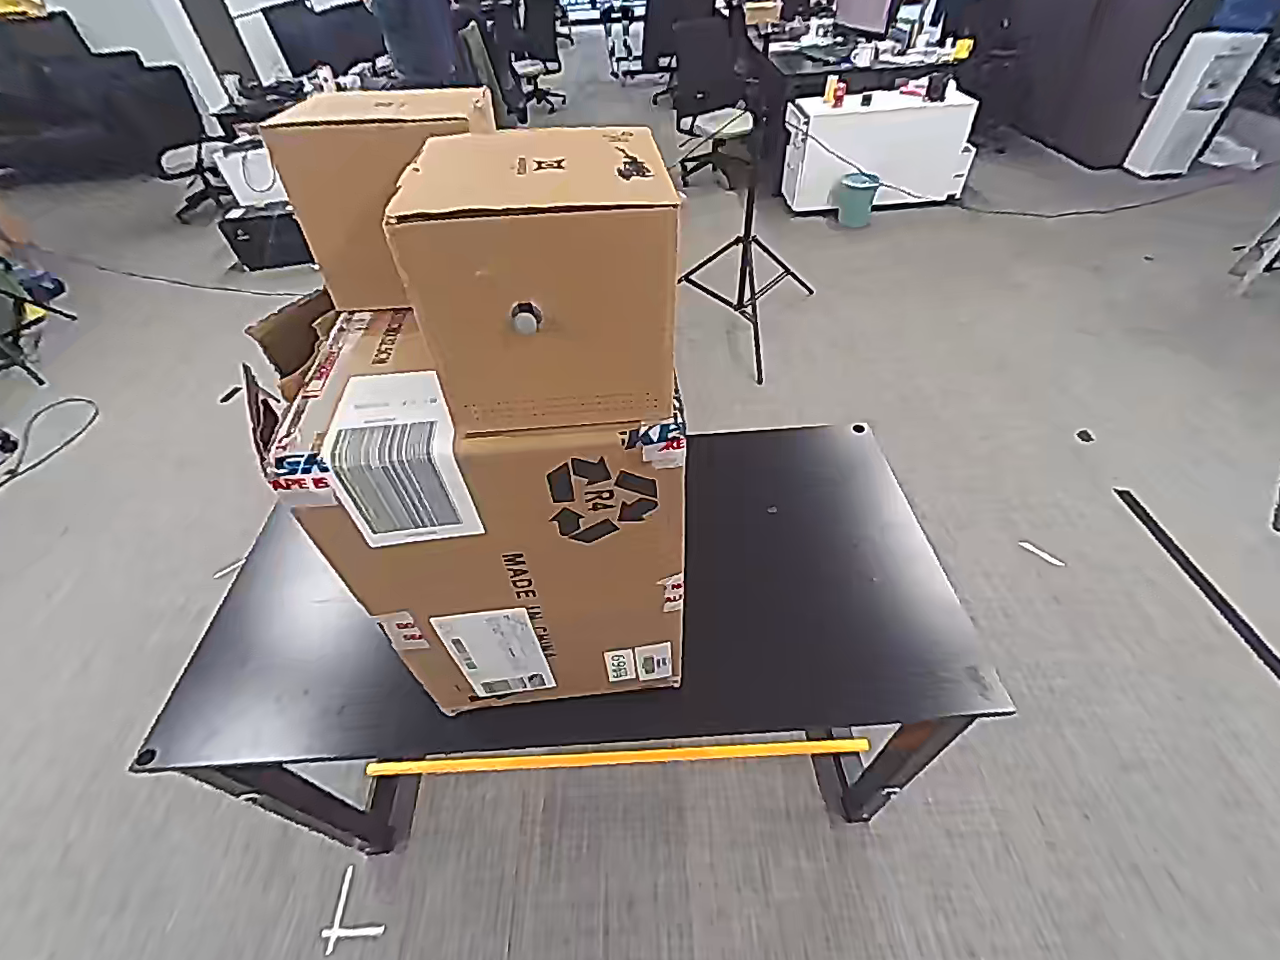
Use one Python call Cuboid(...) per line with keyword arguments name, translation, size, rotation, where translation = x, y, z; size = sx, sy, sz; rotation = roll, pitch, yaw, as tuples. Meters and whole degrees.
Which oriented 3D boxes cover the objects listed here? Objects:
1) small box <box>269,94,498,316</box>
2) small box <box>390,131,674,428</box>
Cuboid(name="small box", translation=(-0.235, -0.290, 0.574), size=(0.179, 0.176, 0.168), rotation=(-6, 43, -3))
Cuboid(name="small box", translation=(-0.068, -0.157, 0.437), size=(0.179, 0.176, 0.168), rotation=(-6, 48, -3))
